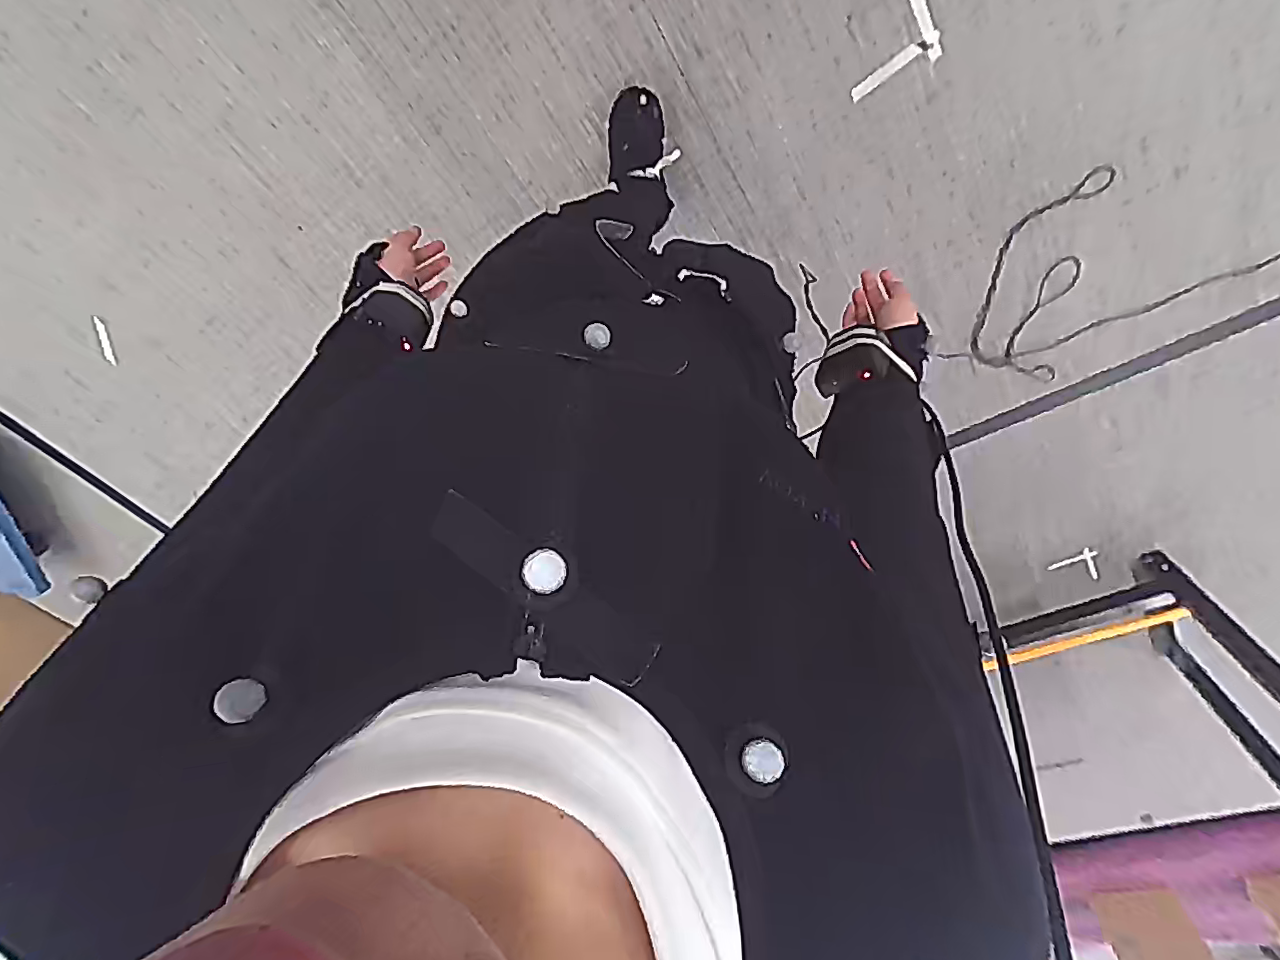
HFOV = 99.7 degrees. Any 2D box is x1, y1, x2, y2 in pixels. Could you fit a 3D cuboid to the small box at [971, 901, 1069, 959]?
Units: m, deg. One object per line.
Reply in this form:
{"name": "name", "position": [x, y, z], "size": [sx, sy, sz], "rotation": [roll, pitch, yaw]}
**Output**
{"name": "small box", "position": [0.952, 1.179, 1.337], "size": [0.179, 0.176, 0.168], "rotation": [-30, 119, 22]}

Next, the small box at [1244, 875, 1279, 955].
{"name": "small box", "position": [1.427, 0.945, 1.128], "size": [0.179, 0.176, 0.168], "rotation": [-28, 120, 25]}
